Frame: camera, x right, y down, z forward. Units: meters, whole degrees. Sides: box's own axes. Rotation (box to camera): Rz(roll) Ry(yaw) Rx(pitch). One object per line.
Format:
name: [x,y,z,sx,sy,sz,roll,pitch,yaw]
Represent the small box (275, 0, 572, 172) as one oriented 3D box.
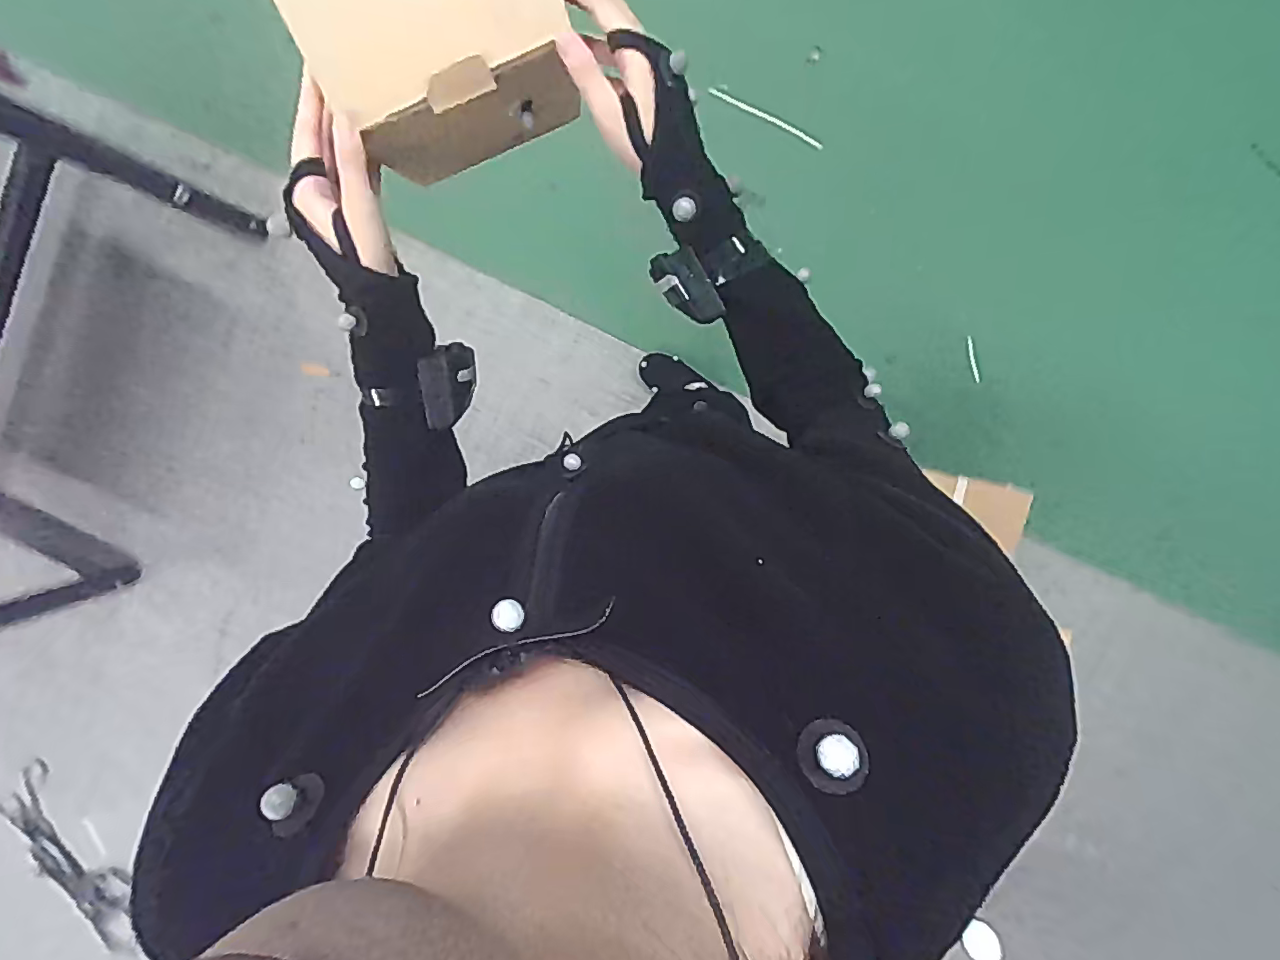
small box: [-0.156,-0.353,0.398,0.168,0.176,0.179,-23,109,2]
